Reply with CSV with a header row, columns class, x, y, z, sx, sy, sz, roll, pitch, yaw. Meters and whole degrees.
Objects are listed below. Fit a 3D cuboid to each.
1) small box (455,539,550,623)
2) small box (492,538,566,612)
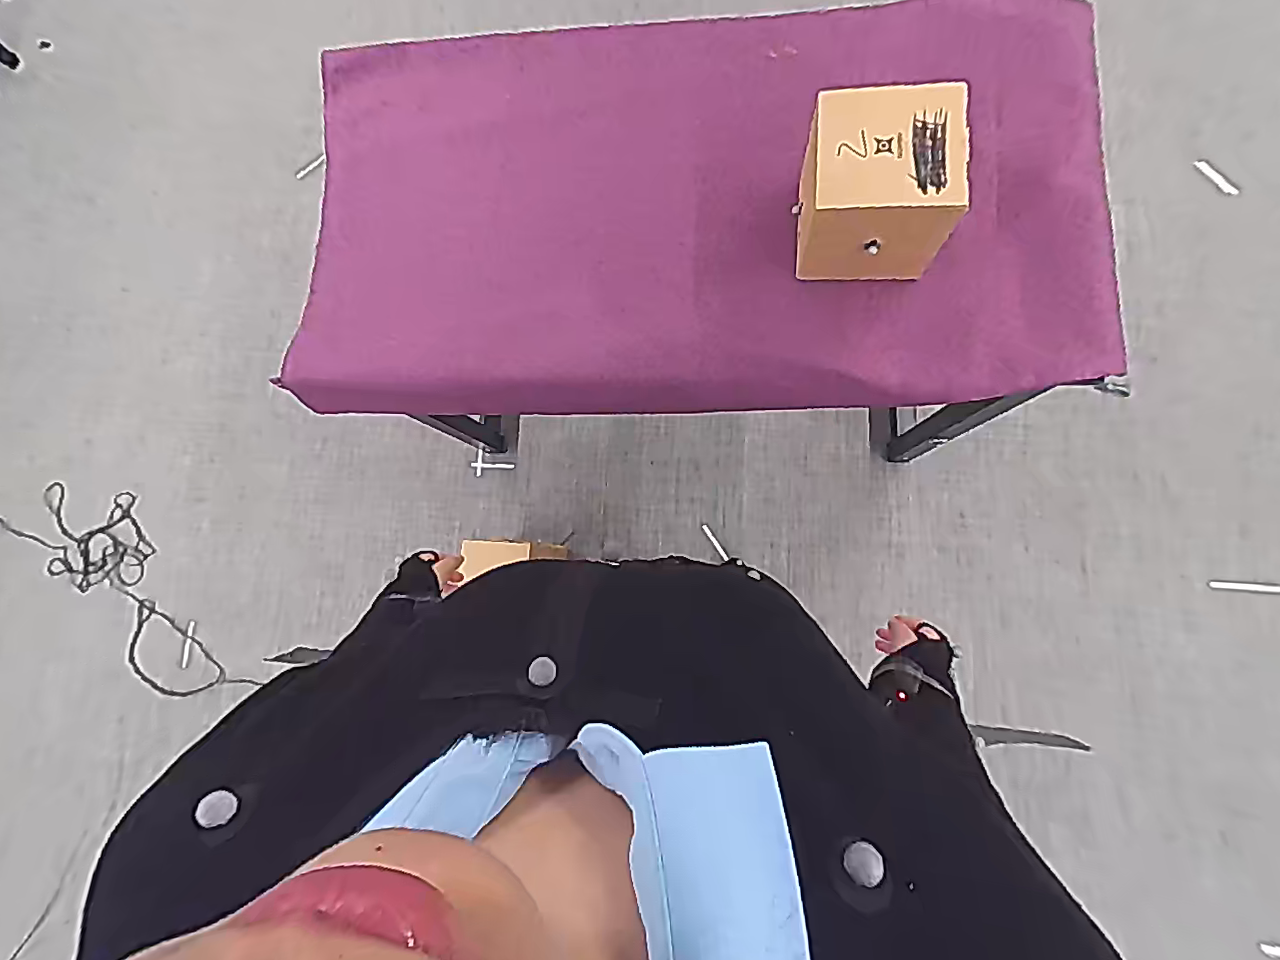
class,x,y,z,sx,sy,sz,roll,pitch,yaw
small box,-0.322,0.239,1.299,0.168,0.176,0.179,3,82,8
small box,-0.308,0.259,1.463,0.168,0.176,0.179,8,83,8
